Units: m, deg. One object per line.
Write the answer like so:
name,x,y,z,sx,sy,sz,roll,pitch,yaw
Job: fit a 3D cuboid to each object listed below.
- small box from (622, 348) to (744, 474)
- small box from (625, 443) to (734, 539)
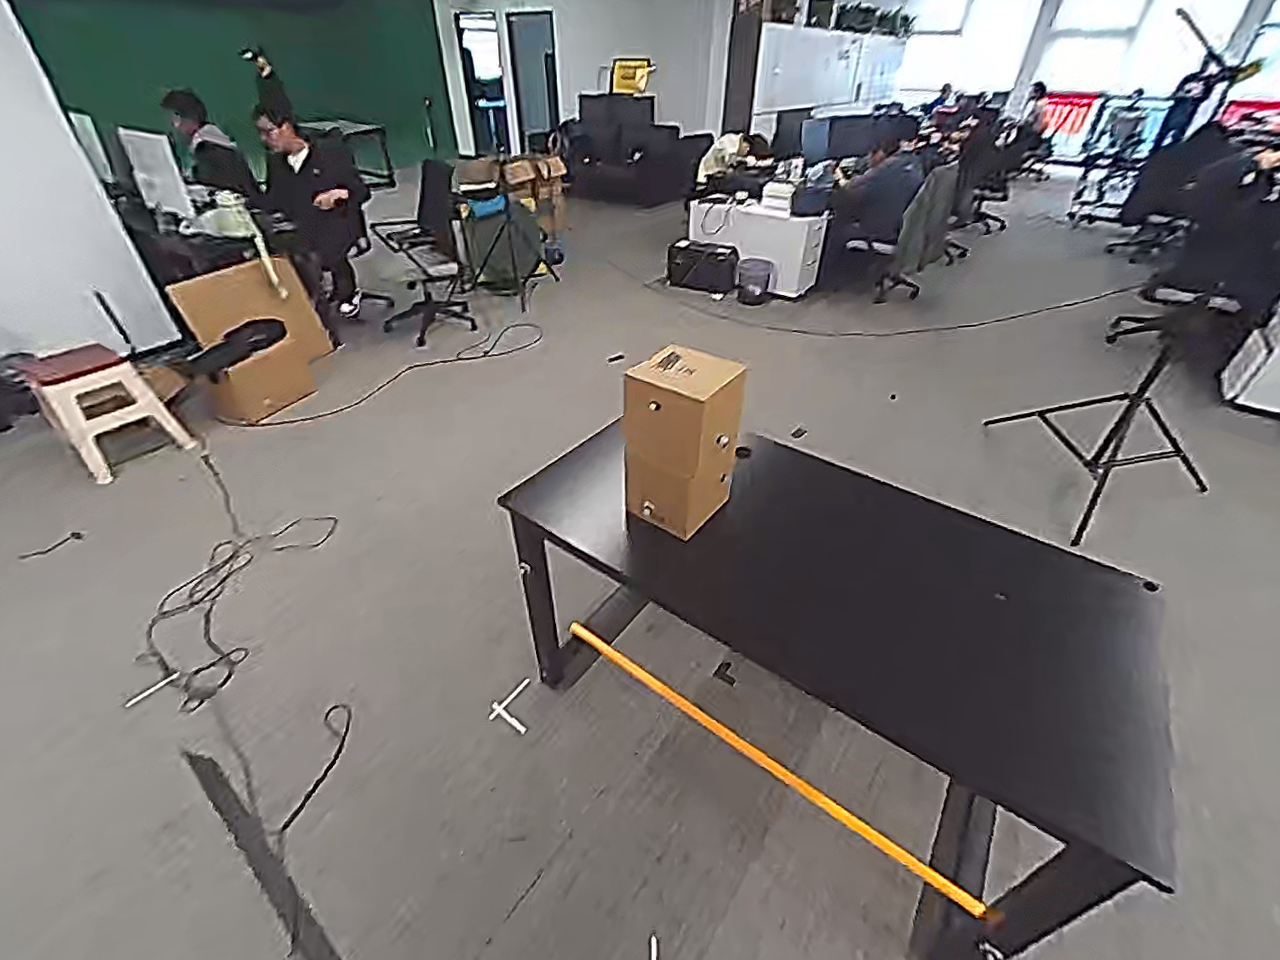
small box,0.081,-0.136,1.059,0.179,0.176,0.168,24,43,27
small box,0.081,-0.006,1.161,0.168,0.176,0.179,24,44,29
